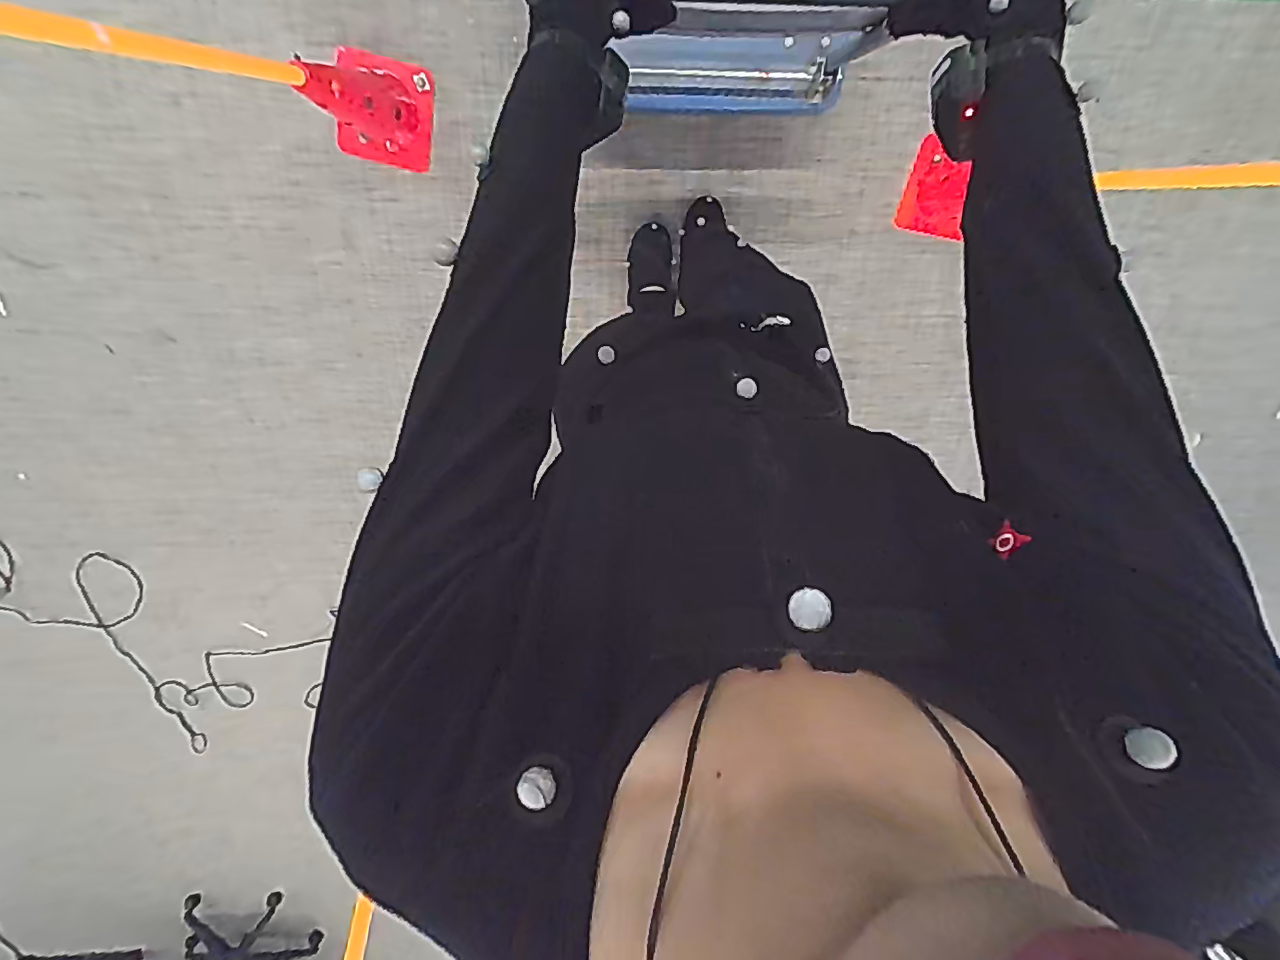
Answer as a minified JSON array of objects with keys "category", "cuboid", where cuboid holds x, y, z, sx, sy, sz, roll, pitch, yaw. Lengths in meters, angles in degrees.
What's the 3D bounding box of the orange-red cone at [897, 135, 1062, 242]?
[{"category":"orange-red cone","cuboid":[0.732,-0.608,1.122,0.198,0.360,0.199,10,116,-6]}]
